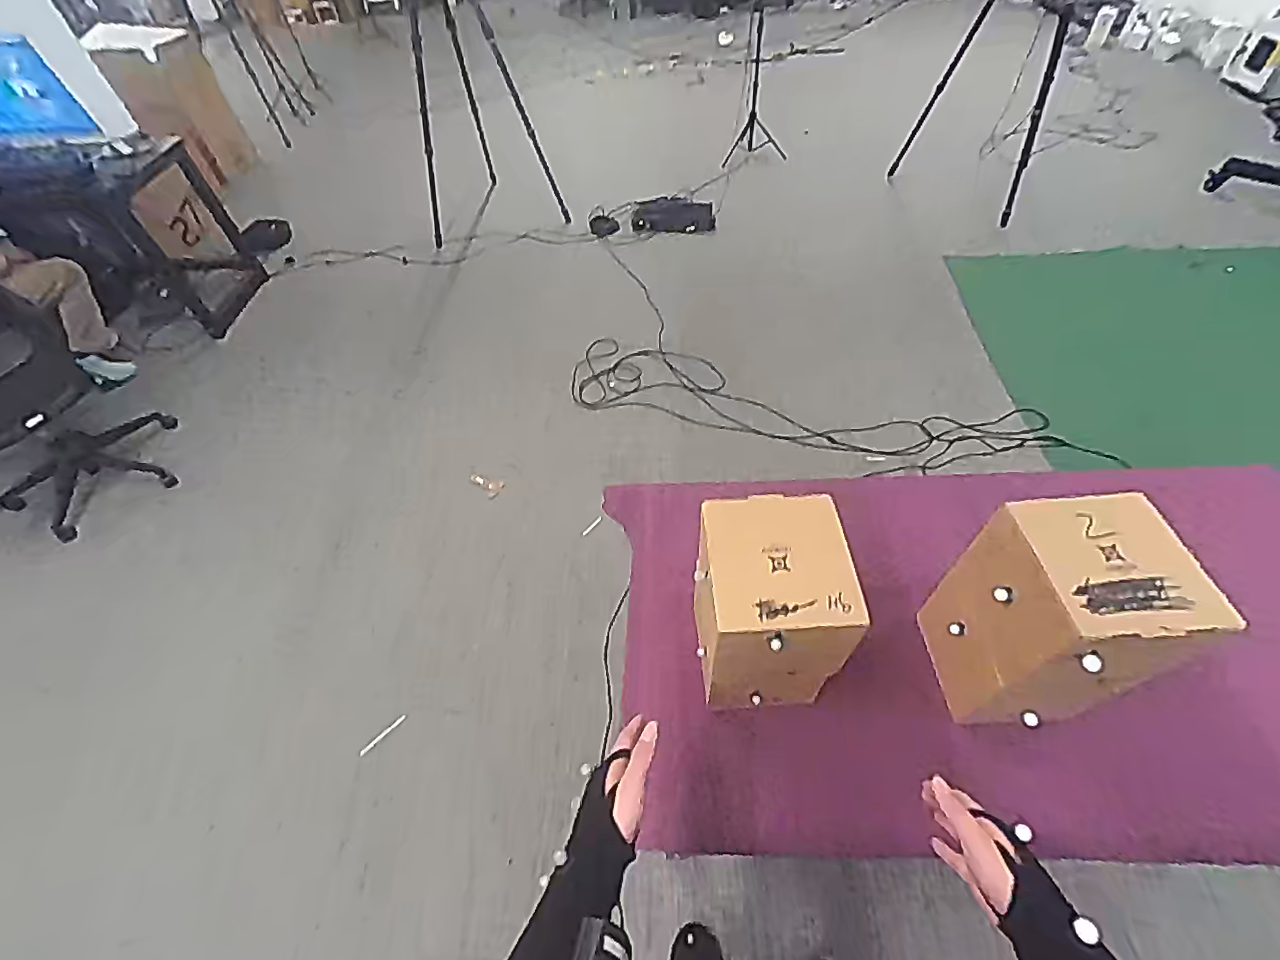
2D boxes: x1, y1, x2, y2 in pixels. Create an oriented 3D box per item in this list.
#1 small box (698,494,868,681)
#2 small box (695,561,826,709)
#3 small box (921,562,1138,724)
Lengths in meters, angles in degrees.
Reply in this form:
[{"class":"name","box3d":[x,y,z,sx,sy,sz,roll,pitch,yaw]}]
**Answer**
[{"class":"small box","box3d":[0.163,0.139,0.687,0.168,0.176,0.179,-4,51,2]},{"class":"small box","box3d":[0.175,0.230,0.824,0.168,0.176,0.179,-5,52,1]},{"class":"small box","box3d":[0.537,0.238,0.782,0.168,0.176,0.179,-3,51,3]}]
